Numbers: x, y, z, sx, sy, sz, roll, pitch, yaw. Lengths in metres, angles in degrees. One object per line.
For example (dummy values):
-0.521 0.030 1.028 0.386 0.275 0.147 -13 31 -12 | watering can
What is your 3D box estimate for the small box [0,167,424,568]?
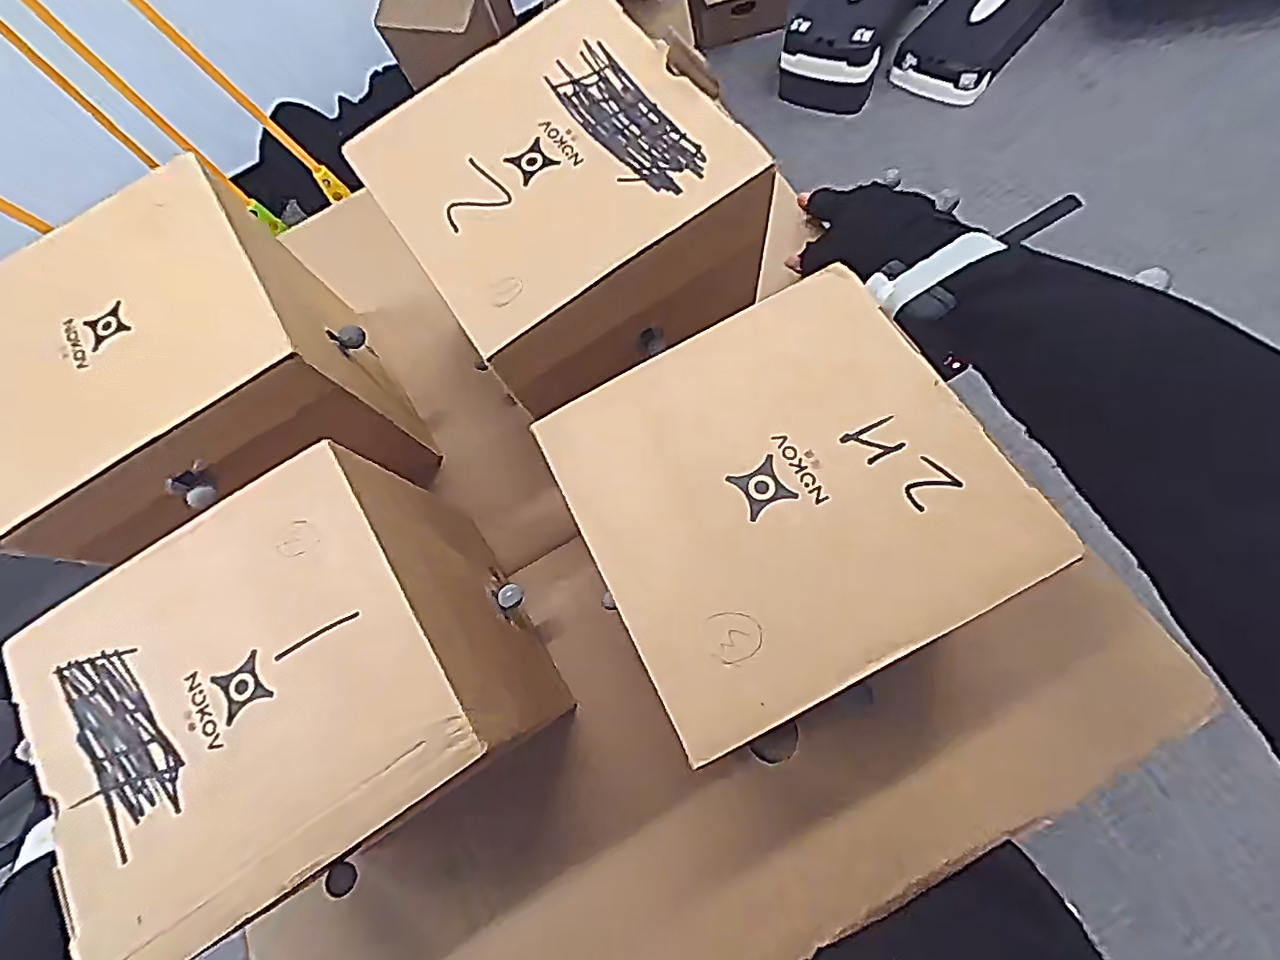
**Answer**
-0.280 -0.059 0.376 0.179 0.176 0.168 -35 72 -3 | small box
